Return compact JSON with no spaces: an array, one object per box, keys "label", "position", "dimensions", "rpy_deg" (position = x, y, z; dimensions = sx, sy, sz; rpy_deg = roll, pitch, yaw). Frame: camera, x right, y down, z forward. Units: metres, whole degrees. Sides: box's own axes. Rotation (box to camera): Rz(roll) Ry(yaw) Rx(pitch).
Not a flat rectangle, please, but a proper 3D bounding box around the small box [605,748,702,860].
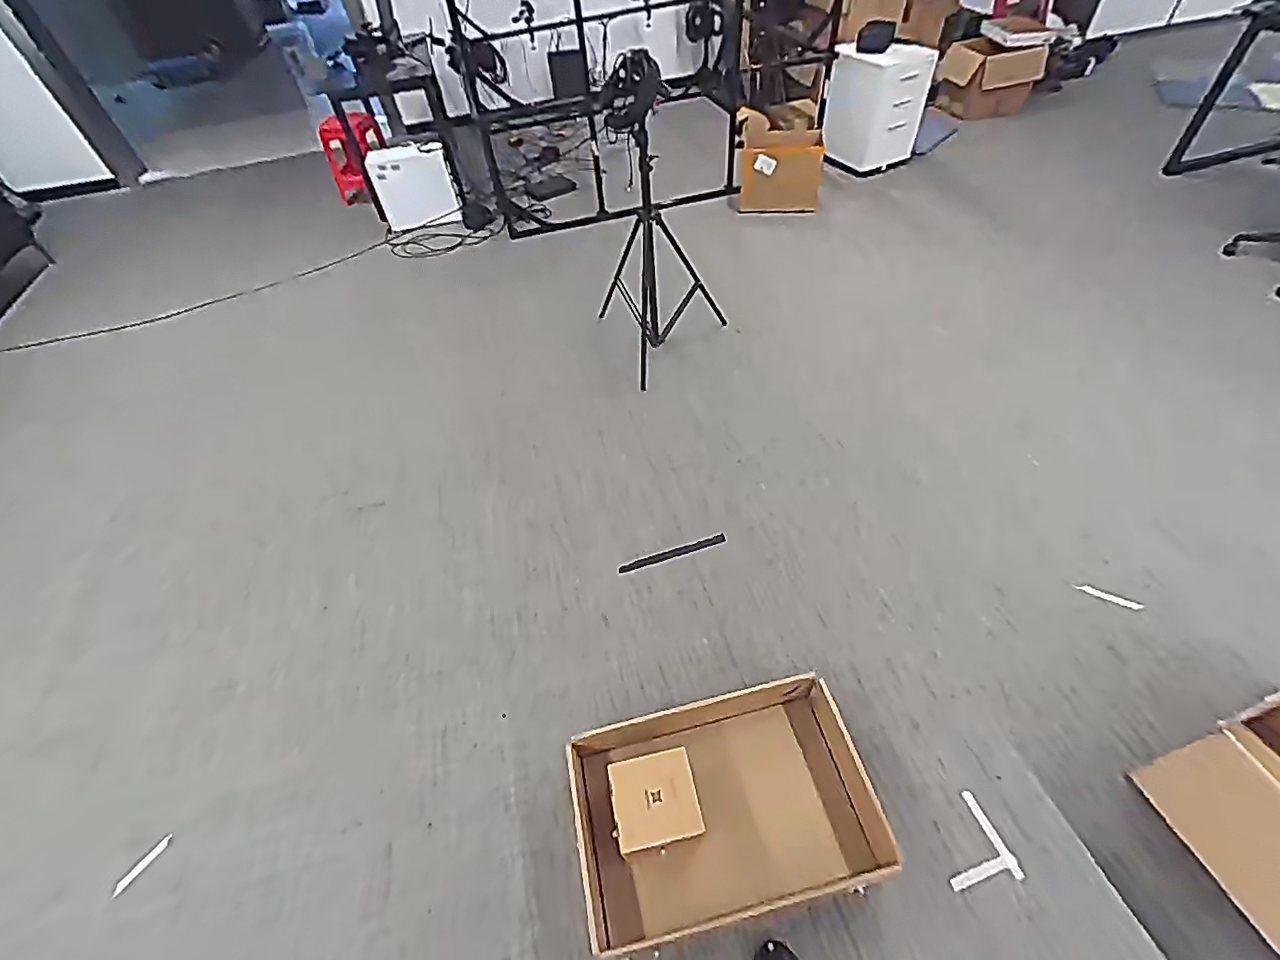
[{"label":"small box","position":[0.029,0.715,1.189],"dimensions":[0.179,0.176,0.168],"rpy_deg":[-11,52,-7]}]
